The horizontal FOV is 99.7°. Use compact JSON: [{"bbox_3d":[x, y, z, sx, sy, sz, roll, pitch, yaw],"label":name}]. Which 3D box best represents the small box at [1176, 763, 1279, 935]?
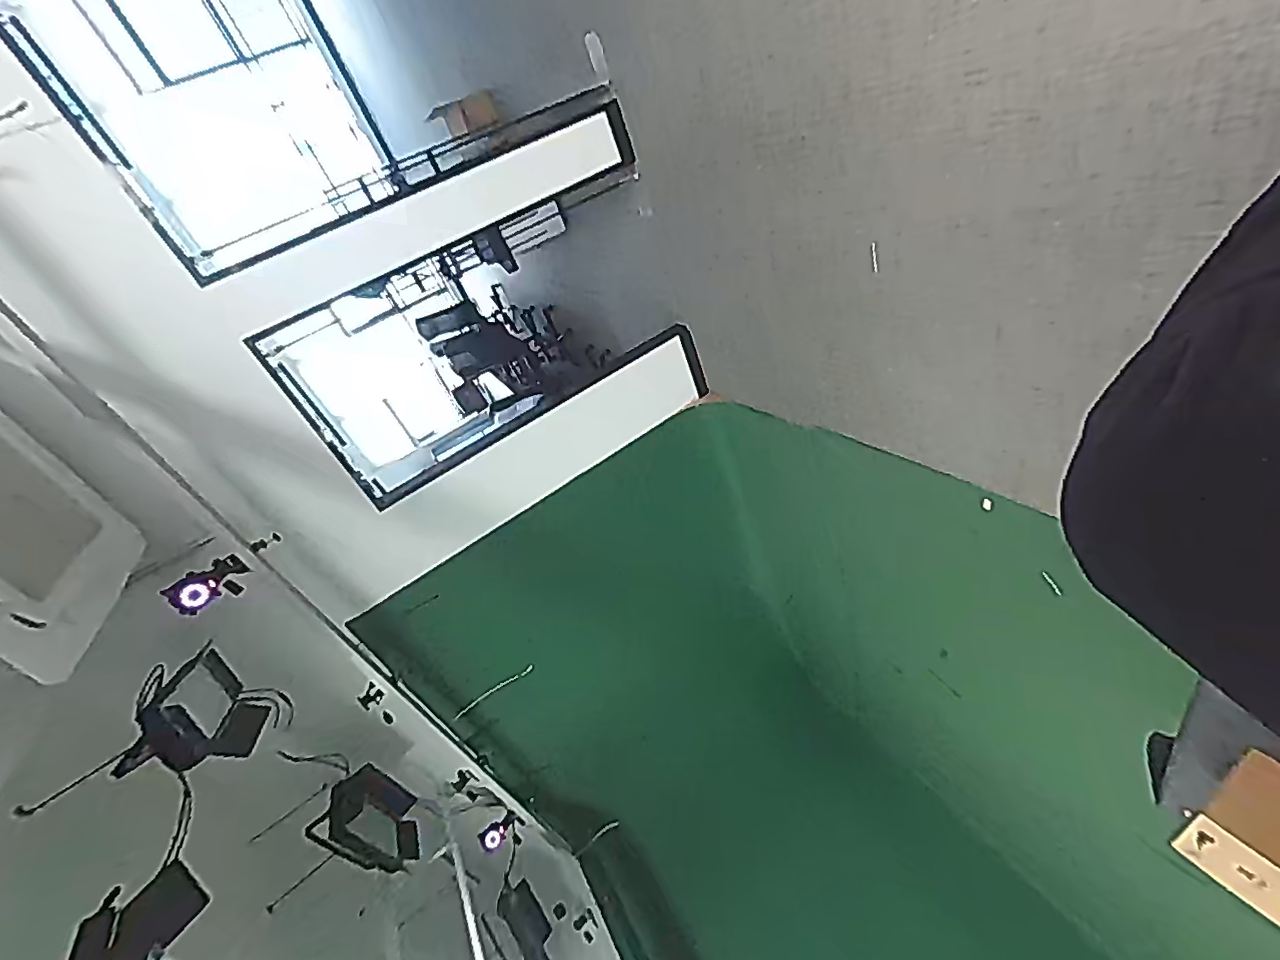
[{"bbox_3d":[1.050,0.610,0.879,0.179,0.176,0.168,39,156,49],"label":"small box"}]
